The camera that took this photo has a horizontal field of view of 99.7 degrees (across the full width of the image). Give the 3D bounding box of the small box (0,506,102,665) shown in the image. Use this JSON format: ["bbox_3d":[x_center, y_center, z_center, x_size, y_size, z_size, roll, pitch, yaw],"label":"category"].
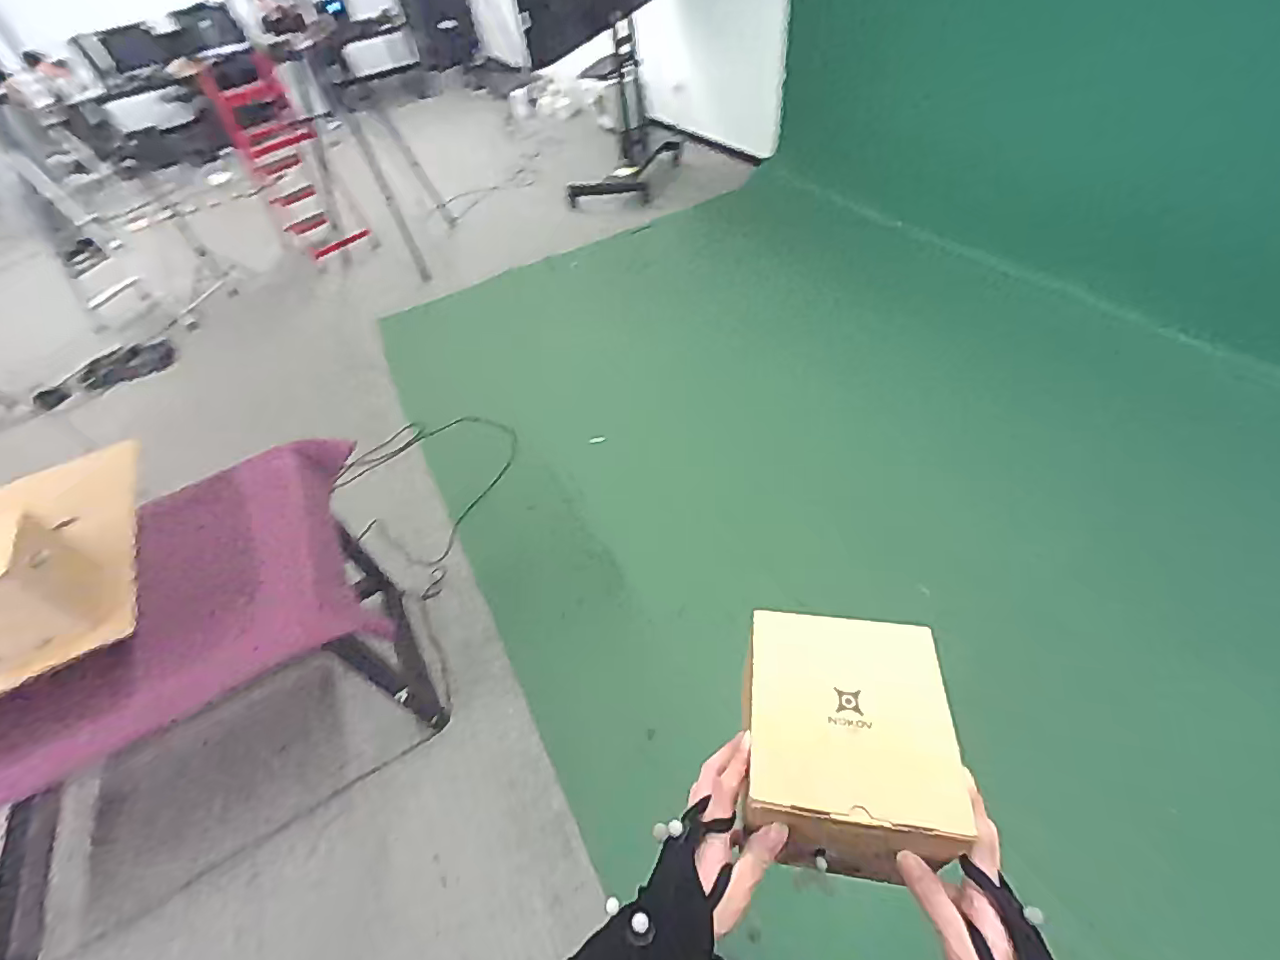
[{"bbox_3d":[-1.043,0.182,0.886,0.168,0.176,0.179,-27,50,-18],"label":"small box"}]
